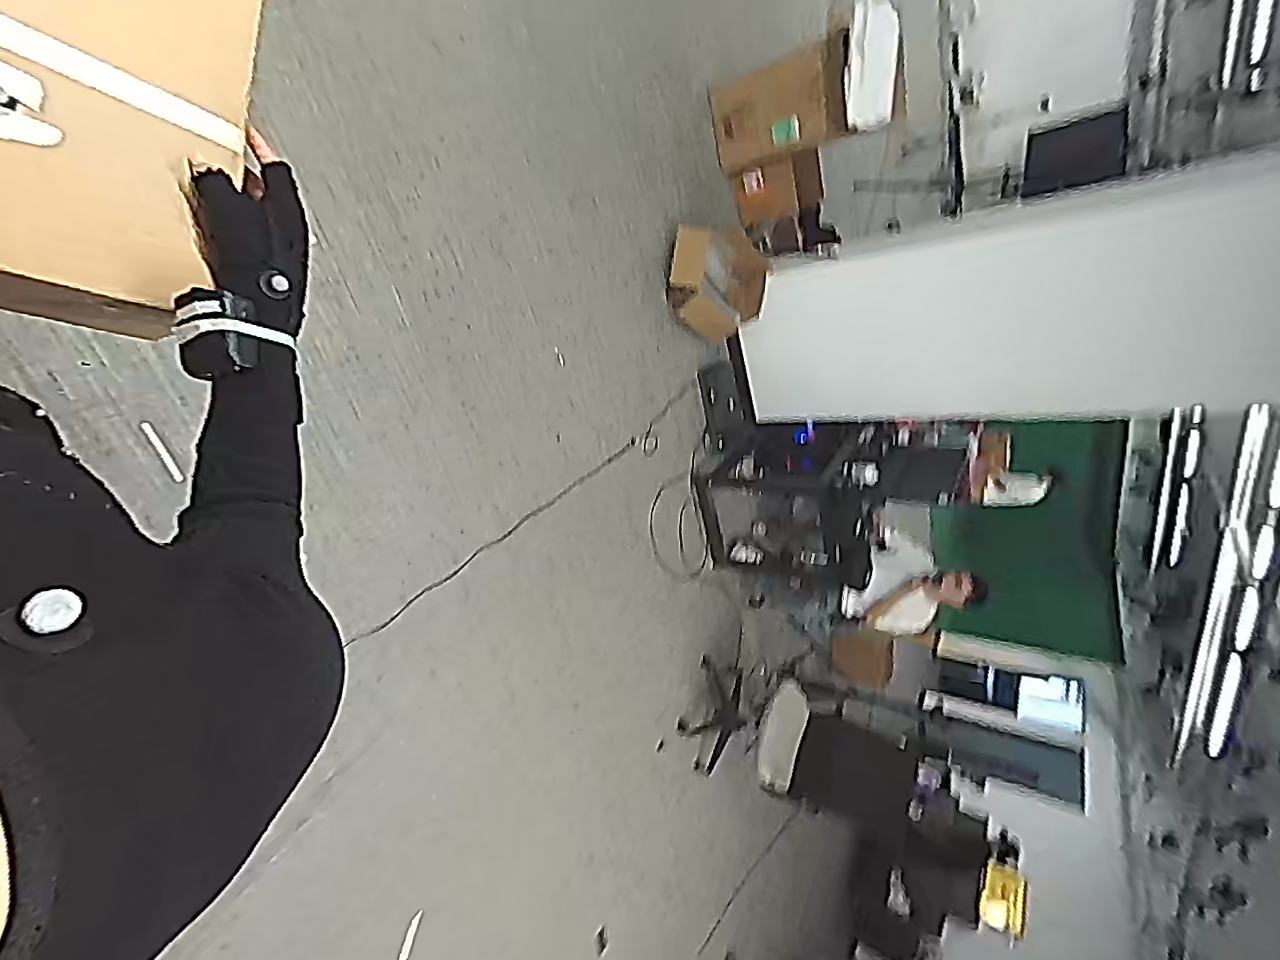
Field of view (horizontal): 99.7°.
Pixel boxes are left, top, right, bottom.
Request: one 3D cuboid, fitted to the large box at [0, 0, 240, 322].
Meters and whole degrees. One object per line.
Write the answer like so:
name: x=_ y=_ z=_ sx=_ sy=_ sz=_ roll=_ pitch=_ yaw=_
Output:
large box: x=-0.605 y=-0.334 z=0.418 sx=0.408 sy=0.320 sz=0.320 roll=4 pitch=94 yaw=-51
